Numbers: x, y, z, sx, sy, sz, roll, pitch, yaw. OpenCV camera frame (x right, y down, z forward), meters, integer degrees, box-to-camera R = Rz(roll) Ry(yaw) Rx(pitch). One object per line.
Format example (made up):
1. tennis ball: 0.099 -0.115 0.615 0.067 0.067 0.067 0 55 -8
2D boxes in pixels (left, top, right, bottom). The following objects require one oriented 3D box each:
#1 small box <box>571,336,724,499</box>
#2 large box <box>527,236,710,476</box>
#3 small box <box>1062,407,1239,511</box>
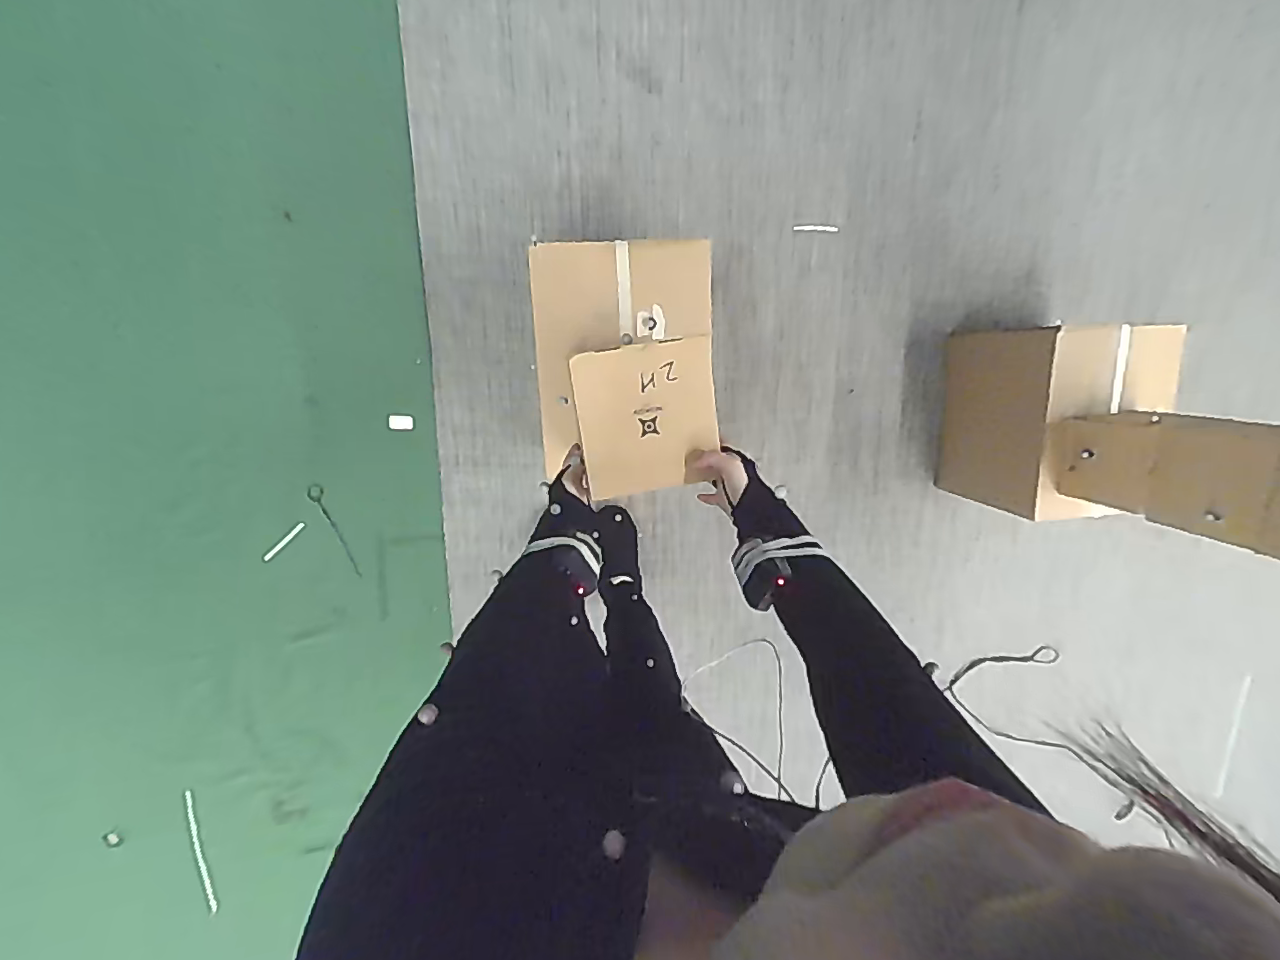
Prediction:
1. small box: 0.003 -0.089 0.712 0.168 0.176 0.179 -9 103 -7
2. large box: -0.045 -0.242 1.093 0.320 0.320 0.408 -4 103 -8
3. small box: 0.985 -0.049 1.058 0.179 0.176 0.168 -6 104 -7
